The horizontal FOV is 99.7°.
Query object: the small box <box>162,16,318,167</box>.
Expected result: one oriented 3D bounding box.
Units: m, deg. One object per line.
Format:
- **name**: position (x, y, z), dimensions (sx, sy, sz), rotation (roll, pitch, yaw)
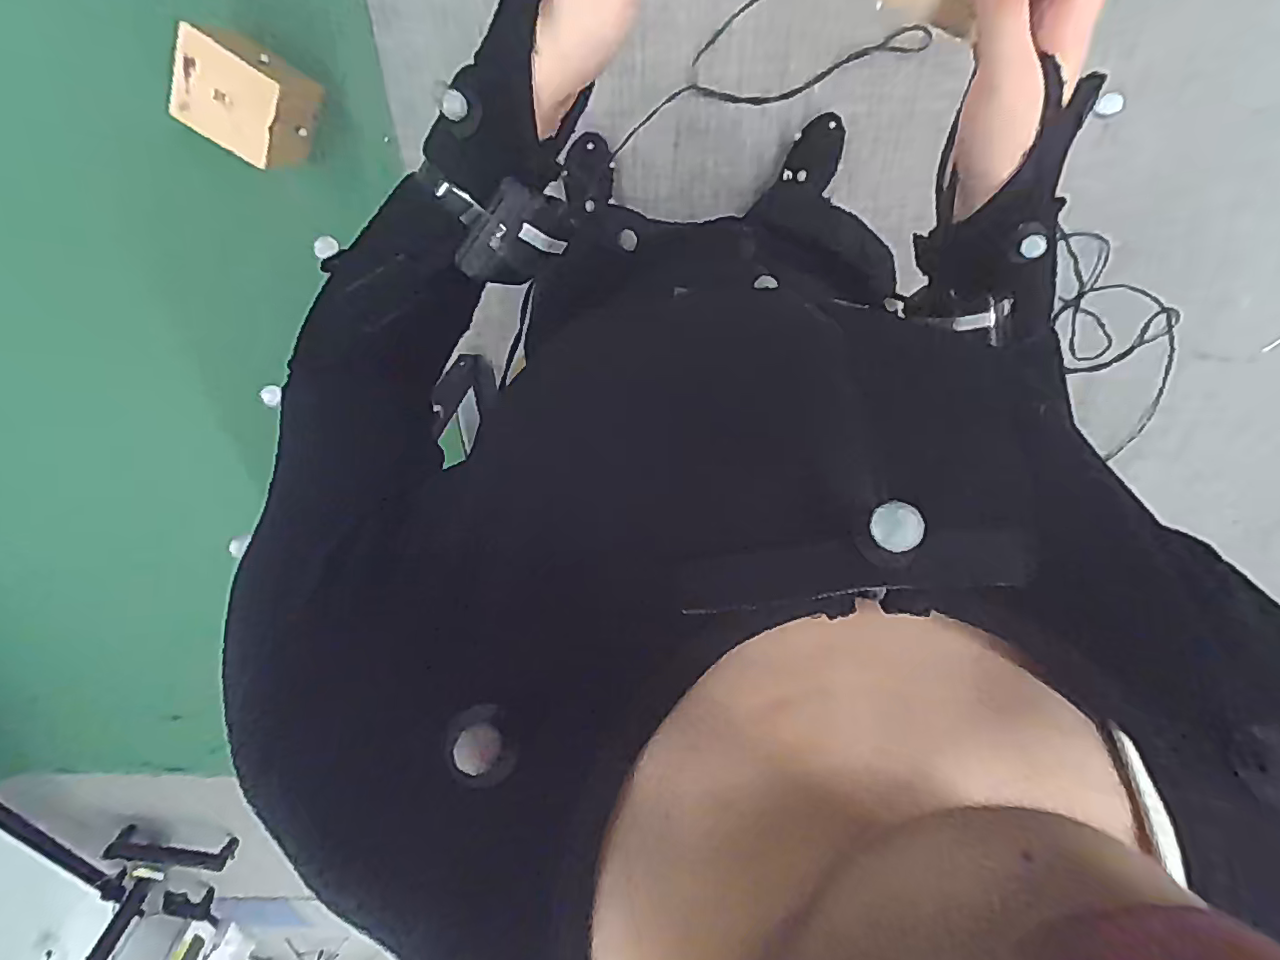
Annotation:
- **small box**: position (-0.771, -0.754, 1.058), dimensions (0.179, 0.176, 0.168), rotation (29, 120, -19)
